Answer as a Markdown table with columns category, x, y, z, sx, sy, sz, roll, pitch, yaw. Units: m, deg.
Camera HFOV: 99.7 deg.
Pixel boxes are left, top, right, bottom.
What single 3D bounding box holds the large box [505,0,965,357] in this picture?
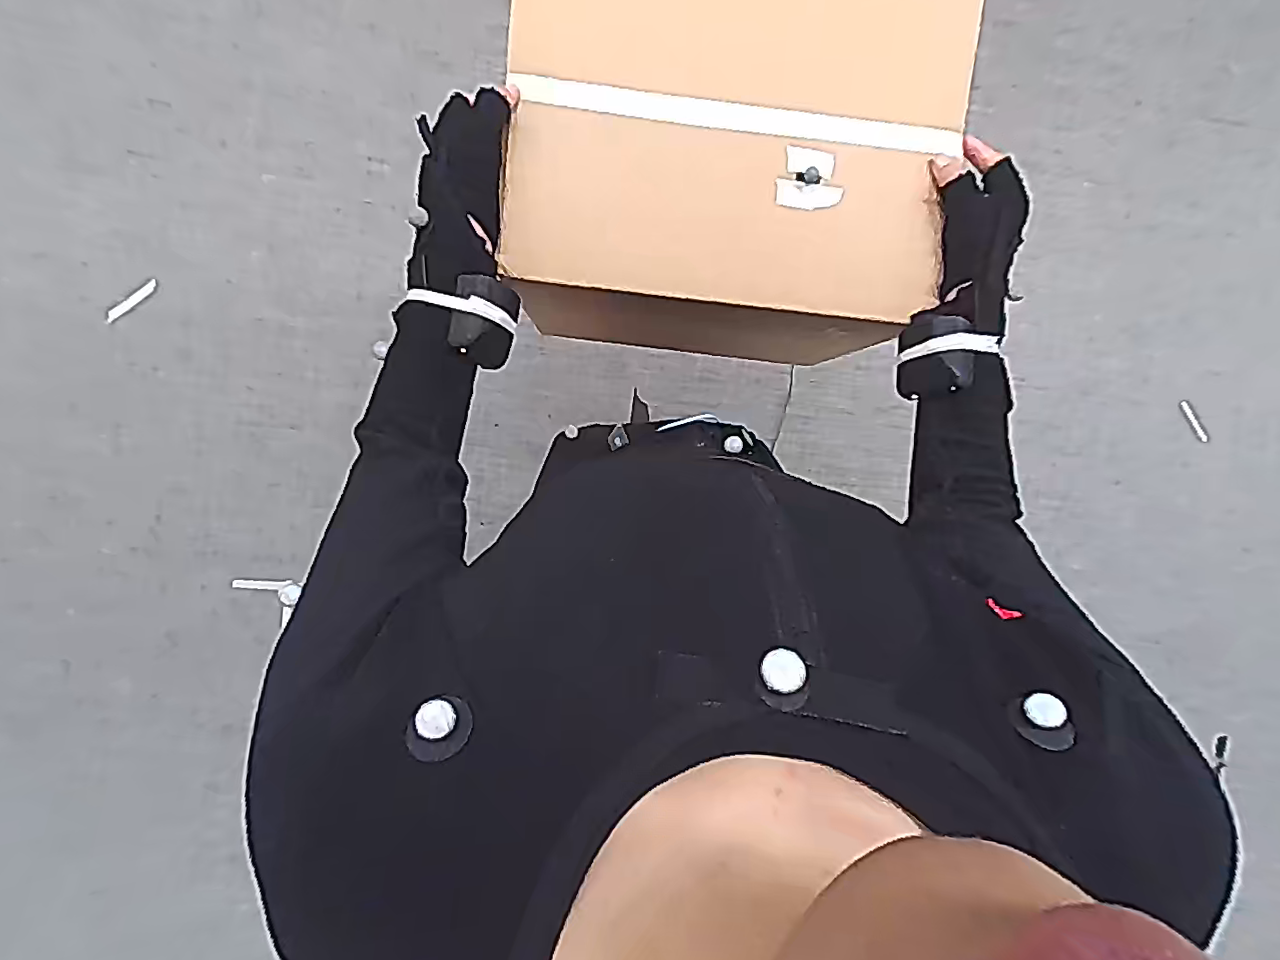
| category | x | y | z | sx | sy | sz | roll | pitch | yaw |
| --- | --- | --- | --- | --- | --- | --- | --- | --- | --- |
| large box | 0.076 | -0.336 | 0.637 | 0.408 | 0.320 | 0.320 | 6 | 96 | -4 |
